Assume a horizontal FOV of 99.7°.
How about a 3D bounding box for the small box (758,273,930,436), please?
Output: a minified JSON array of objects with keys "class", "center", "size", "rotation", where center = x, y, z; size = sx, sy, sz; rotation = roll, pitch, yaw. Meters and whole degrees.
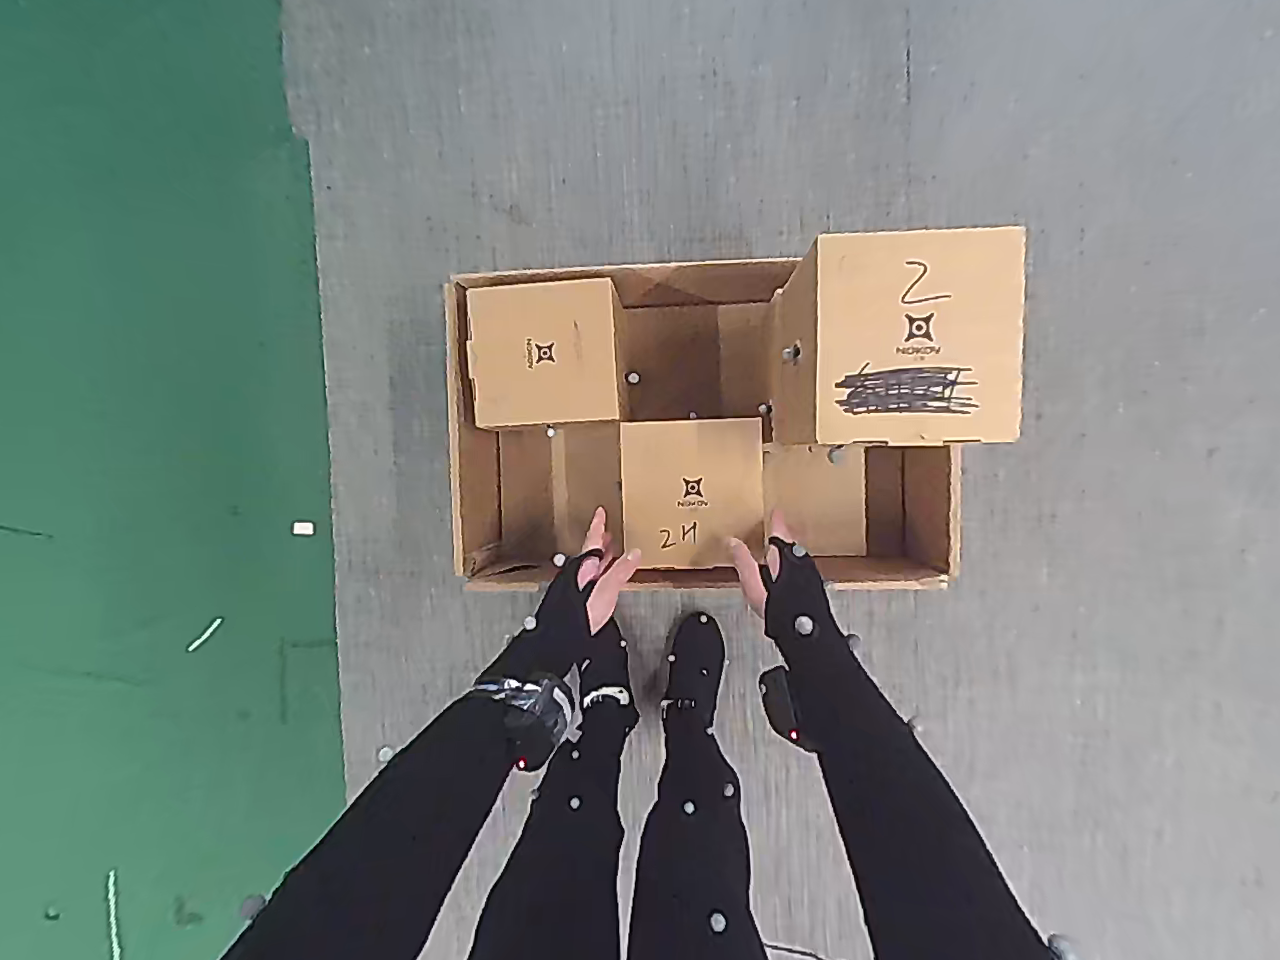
[{"class":"small box","center":[0.243,-0.146,0.683],"size":[0.168,0.176,0.179],"rotation":[-1,94,5]}]
